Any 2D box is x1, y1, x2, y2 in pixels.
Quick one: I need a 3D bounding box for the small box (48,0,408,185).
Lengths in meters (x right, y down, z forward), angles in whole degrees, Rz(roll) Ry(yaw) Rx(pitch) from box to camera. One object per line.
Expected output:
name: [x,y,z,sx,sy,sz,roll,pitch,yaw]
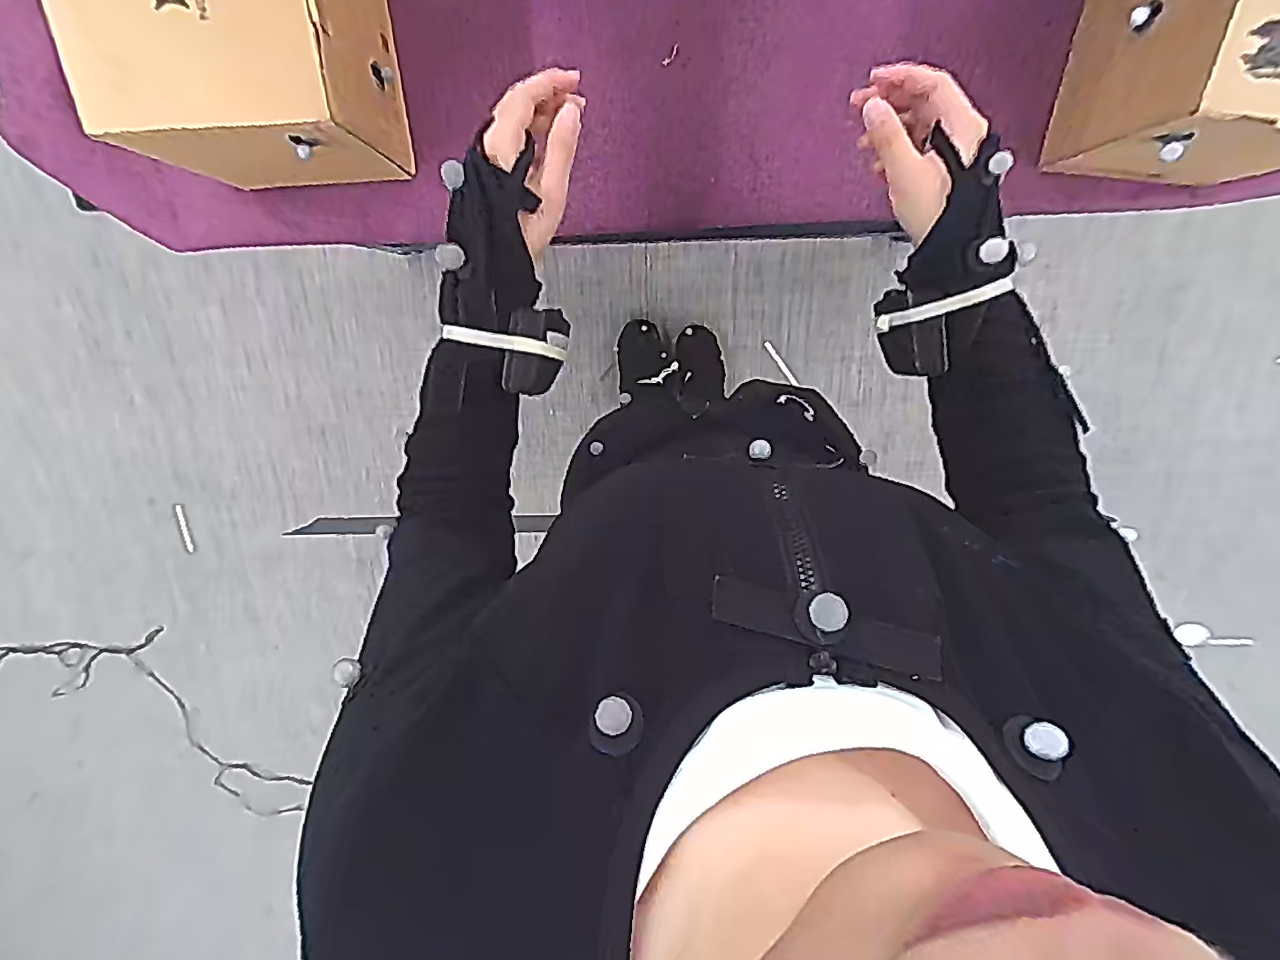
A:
small box: [-0.319,-0.355,0.444,0.179,0.176,0.168,-5,107,-2]
